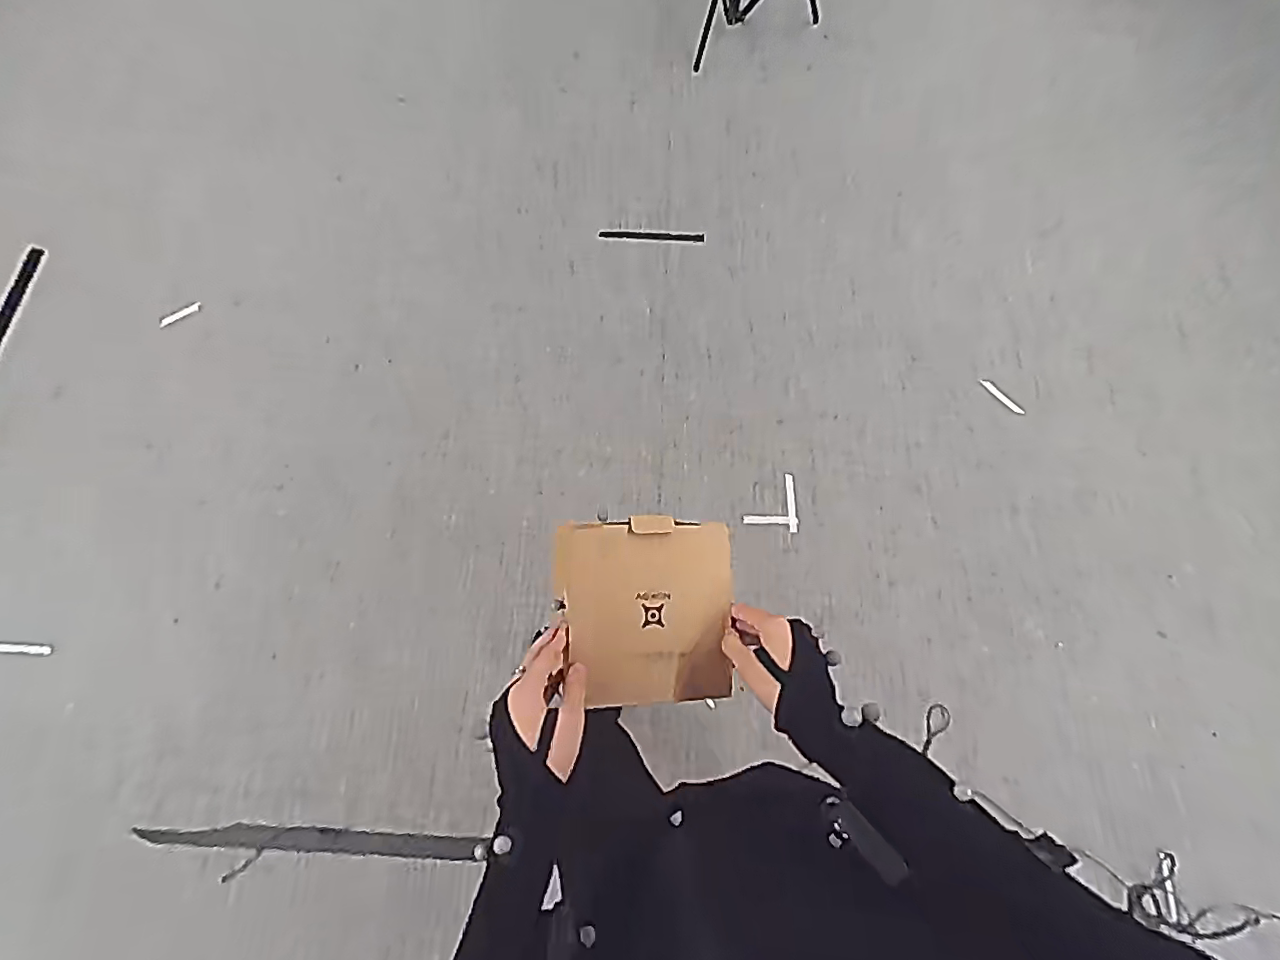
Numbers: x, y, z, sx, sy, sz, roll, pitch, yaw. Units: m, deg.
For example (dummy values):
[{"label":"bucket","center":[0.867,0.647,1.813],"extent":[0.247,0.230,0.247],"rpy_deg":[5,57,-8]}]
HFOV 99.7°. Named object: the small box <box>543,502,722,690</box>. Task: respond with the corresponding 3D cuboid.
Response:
[{"label":"small box","center":[-0.018,0.122,0.603],"extent":[0.168,0.176,0.179],"rpy_deg":[2,82,-14]}]
